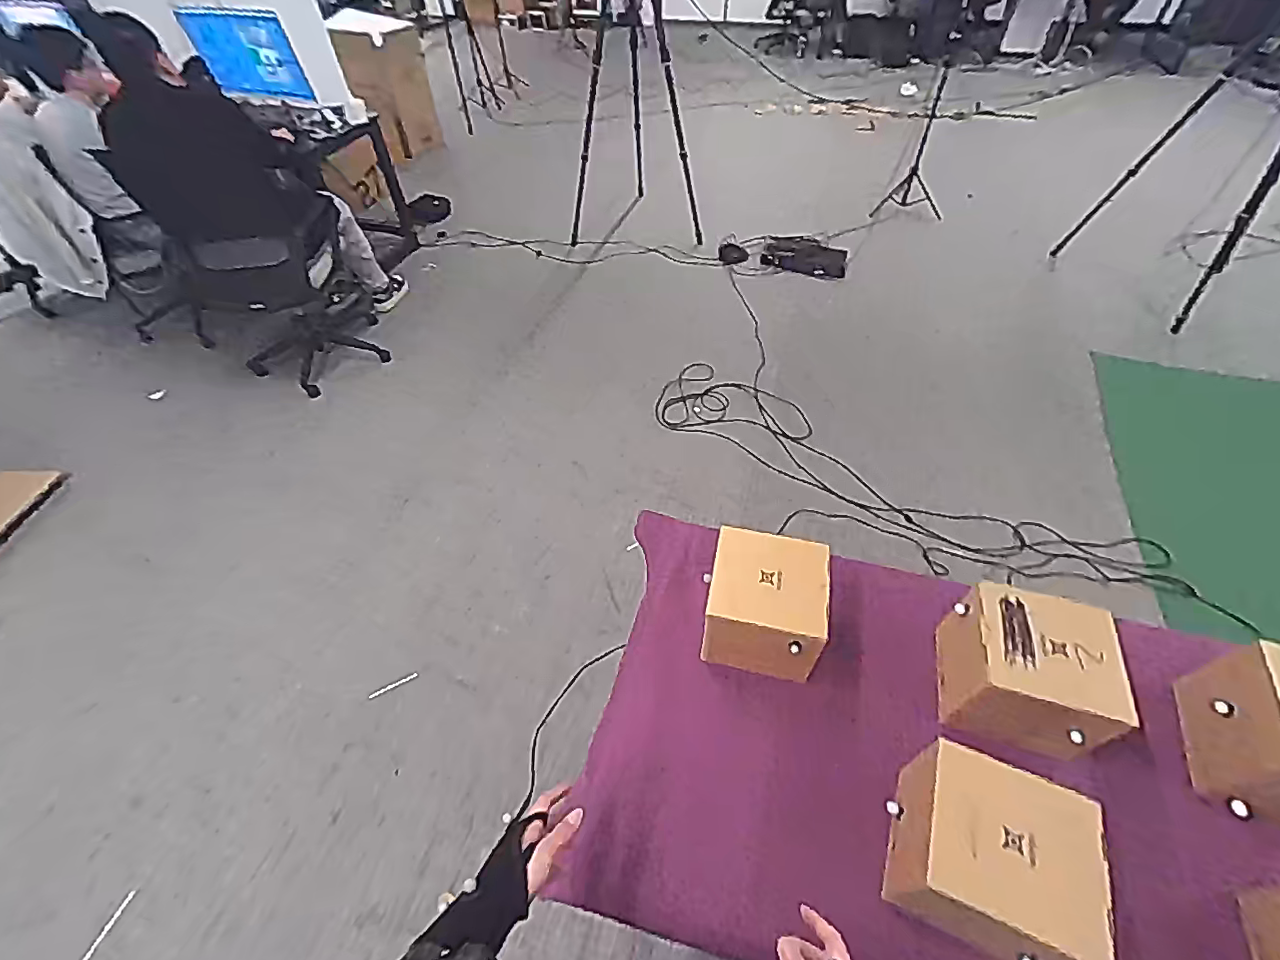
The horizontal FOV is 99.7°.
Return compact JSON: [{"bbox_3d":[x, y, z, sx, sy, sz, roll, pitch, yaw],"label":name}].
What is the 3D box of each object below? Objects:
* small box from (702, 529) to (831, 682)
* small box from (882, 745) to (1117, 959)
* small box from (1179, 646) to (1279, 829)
[{"bbox_3d":[0.200,0.206,0.876,0.179,0.176,0.168,10,50,10],"label":"small box"},{"bbox_3d":[0.416,0.456,0.647,0.179,0.176,0.168,19,51,18],"label":"small box"},{"bbox_3d":[0.879,0.358,0.714,0.168,0.176,0.179,18,51,17],"label":"small box"}]
